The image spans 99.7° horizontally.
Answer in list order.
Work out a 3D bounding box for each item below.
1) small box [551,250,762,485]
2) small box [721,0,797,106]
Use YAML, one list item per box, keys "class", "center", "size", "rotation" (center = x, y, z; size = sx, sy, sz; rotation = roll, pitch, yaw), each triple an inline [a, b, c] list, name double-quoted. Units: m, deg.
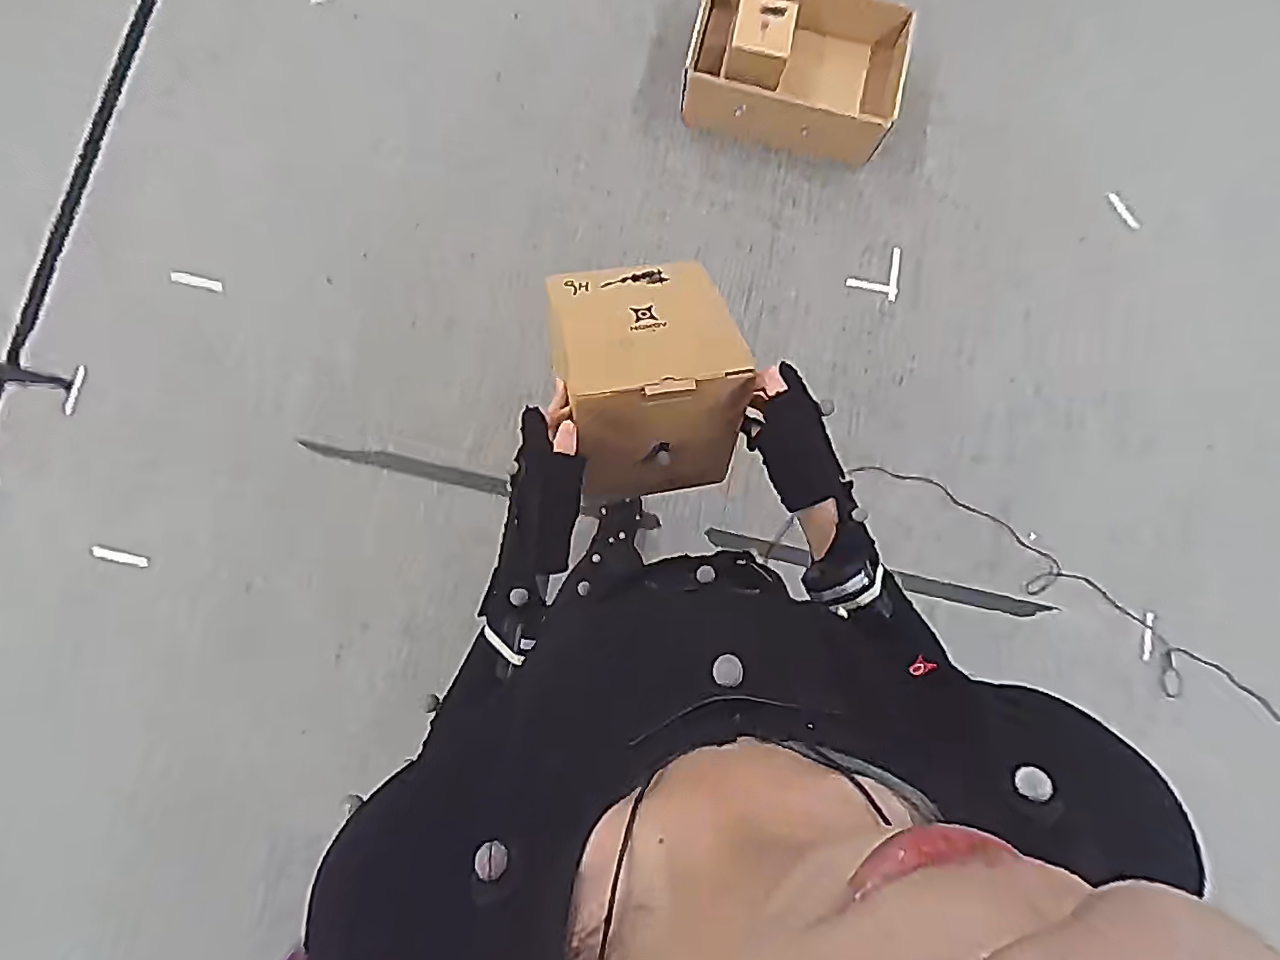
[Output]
- class: "small box"
  center: [0.006, -0.109, 0.564]
  size: [0.168, 0.176, 0.179]
  rotation: [-9, 57, -11]
- class: "small box"
  center: [0.344, -1.260, 1.593]
  size: [0.168, 0.176, 0.179]
  rotation: [11, 82, -2]
